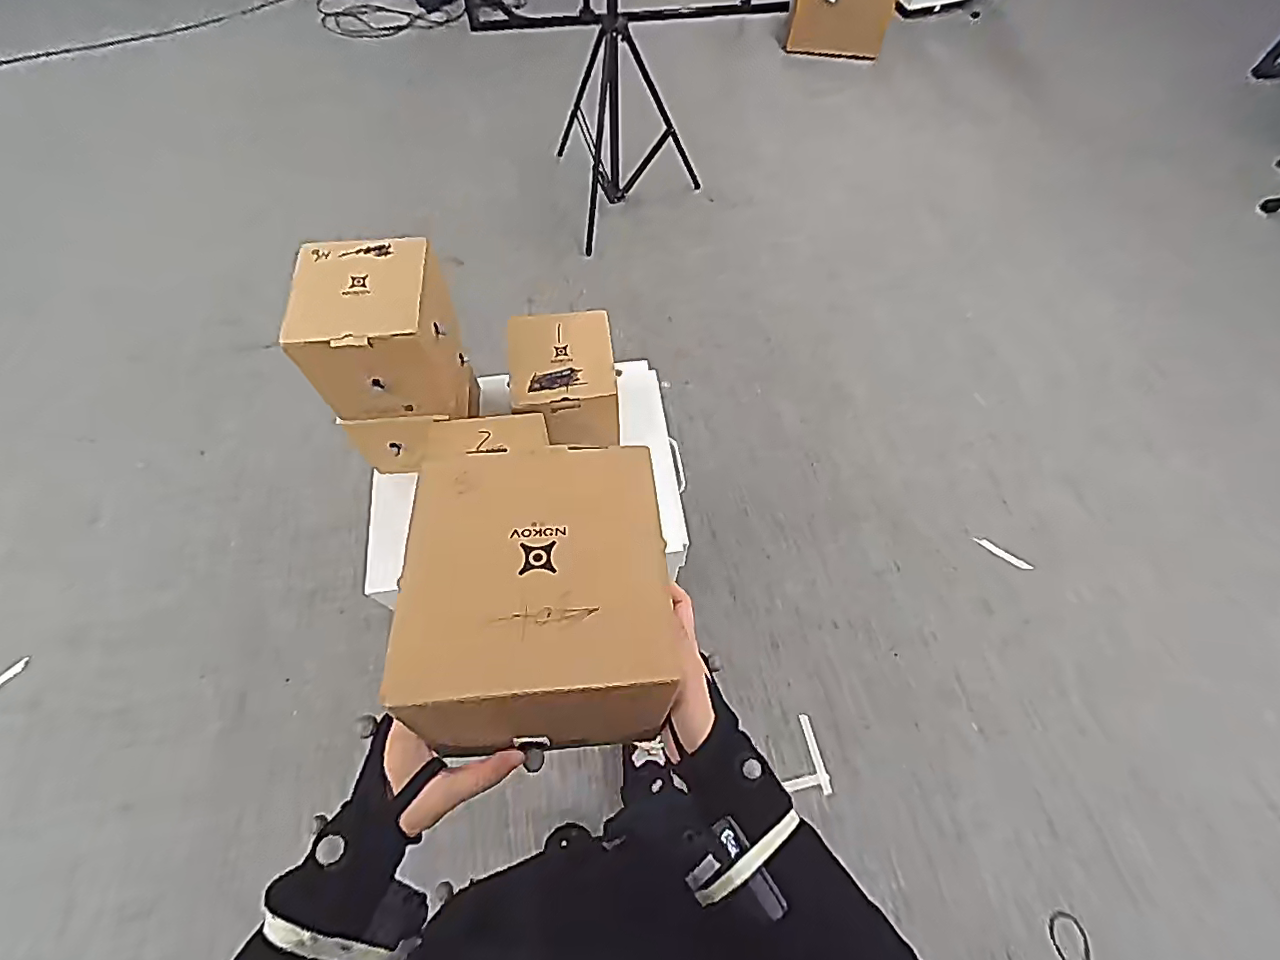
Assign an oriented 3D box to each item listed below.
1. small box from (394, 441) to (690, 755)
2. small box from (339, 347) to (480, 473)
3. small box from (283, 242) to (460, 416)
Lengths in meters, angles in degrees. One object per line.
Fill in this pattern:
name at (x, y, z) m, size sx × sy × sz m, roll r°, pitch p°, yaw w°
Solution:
small box at (-0.066, 0.091, 0.411) m, size 0.168 × 0.176 × 0.179 m, roll -4°, pitch 55°, yaw -7°
small box at (-0.369, -0.121, 0.900) m, size 0.168 × 0.176 × 0.179 m, roll -4°, pitch 64°, yaw -4°
small box at (-0.358, -0.202, 0.758) m, size 0.168 × 0.176 × 0.179 m, roll -5°, pitch 64°, yaw -5°
